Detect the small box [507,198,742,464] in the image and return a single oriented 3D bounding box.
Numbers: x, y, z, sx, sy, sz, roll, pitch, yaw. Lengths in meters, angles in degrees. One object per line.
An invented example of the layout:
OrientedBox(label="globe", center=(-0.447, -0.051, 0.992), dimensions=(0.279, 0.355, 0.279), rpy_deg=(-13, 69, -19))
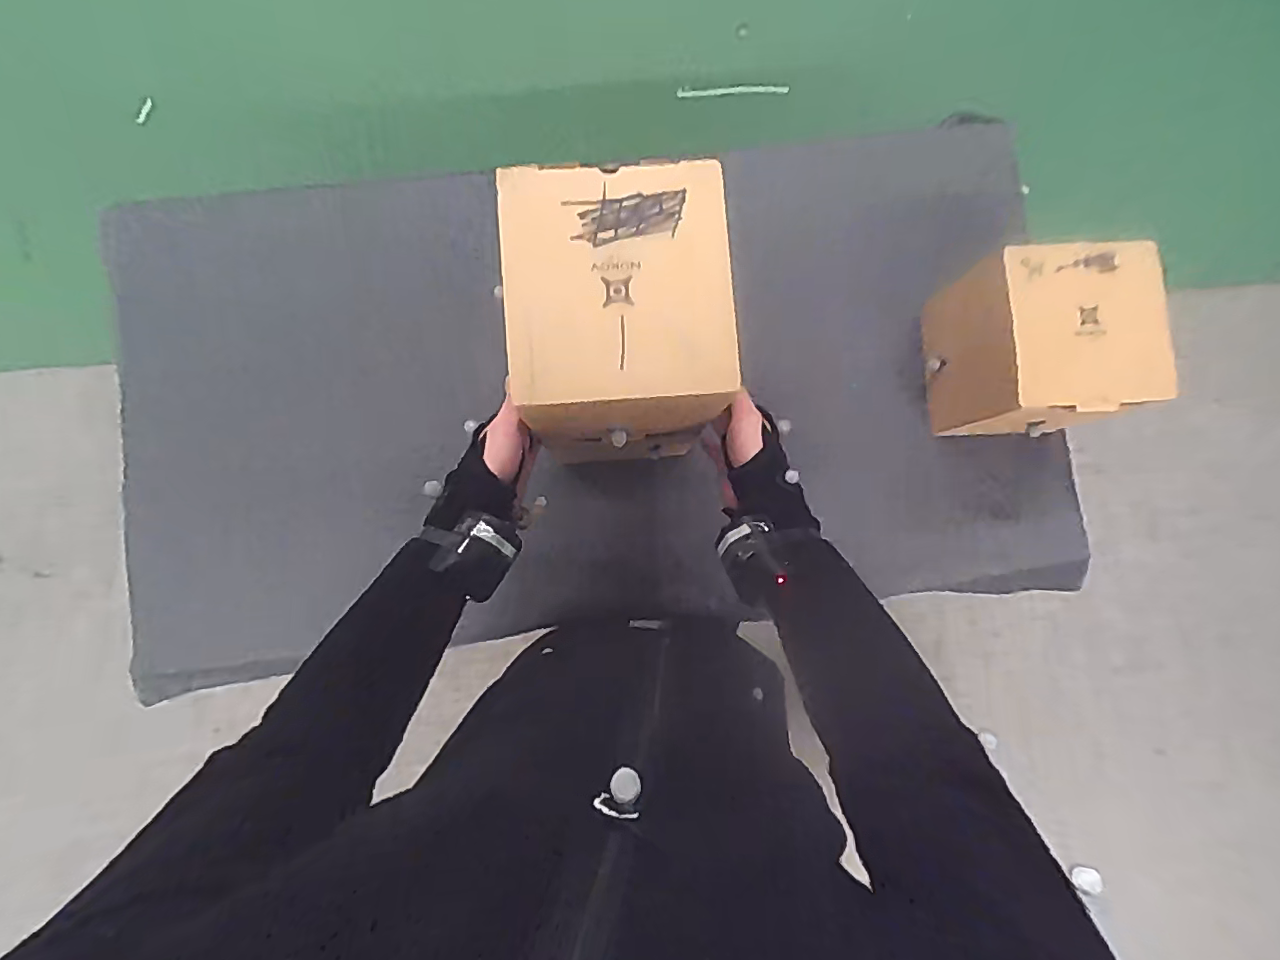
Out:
OrientedBox(label="small box", center=(-0.017, -0.115, 0.477), dimensions=(0.168, 0.176, 0.179), rpy_deg=(-5, 86, -3))

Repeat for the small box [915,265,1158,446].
OrientedBox(label="small box", center=(0.460, -0.137, 0.656), dimensions=(0.168, 0.176, 0.179), rpy_deg=(-3, 85, -1))
